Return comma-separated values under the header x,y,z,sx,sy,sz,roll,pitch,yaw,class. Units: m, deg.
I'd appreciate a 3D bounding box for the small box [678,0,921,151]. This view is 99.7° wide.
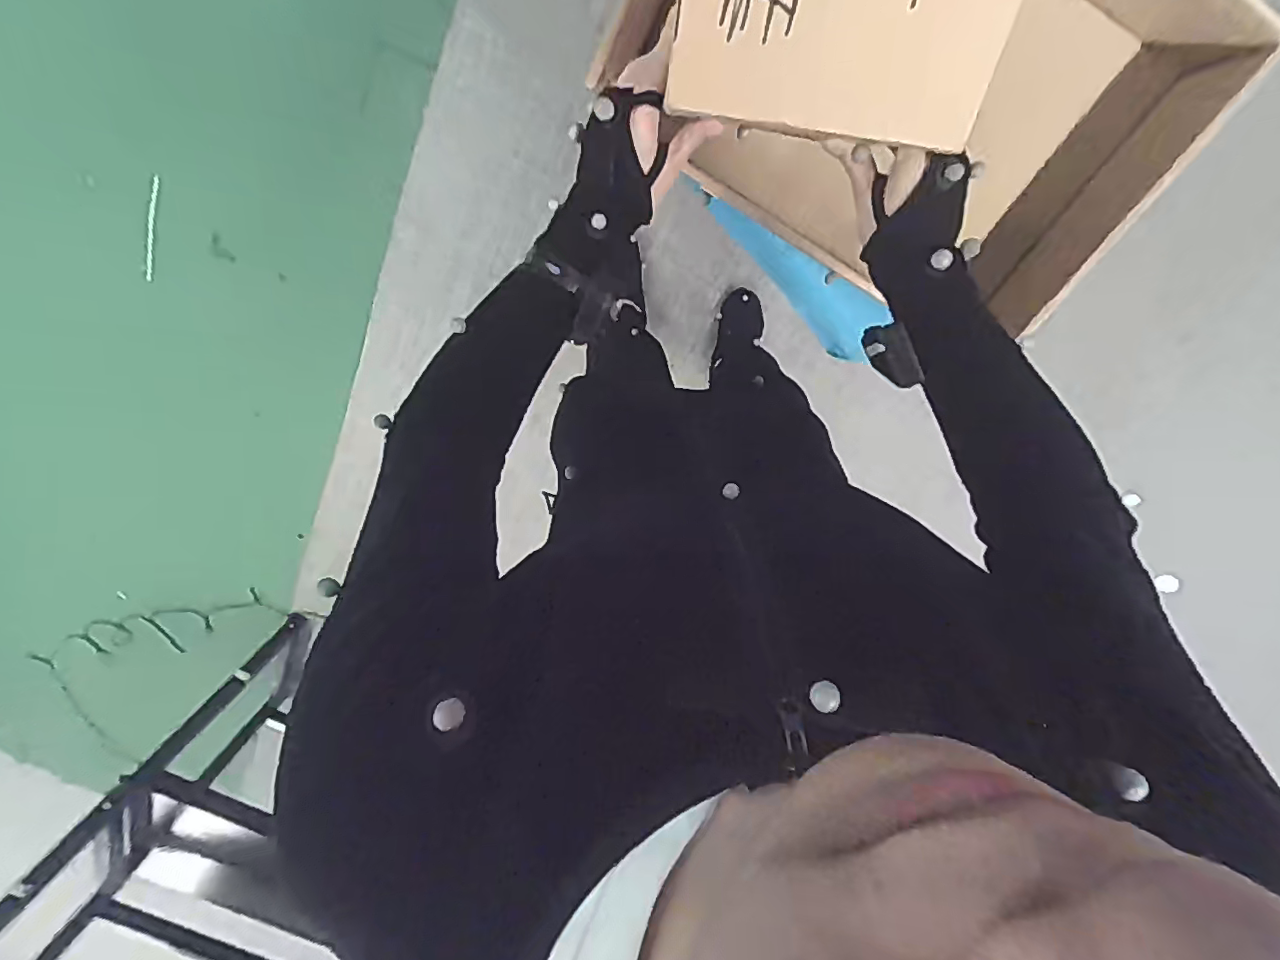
x,y,z,sx,sy,sz,roll,pitch,yaw,class
0.129,-0.400,0.464,0.168,0.176,0.179,10,123,-1,small box
